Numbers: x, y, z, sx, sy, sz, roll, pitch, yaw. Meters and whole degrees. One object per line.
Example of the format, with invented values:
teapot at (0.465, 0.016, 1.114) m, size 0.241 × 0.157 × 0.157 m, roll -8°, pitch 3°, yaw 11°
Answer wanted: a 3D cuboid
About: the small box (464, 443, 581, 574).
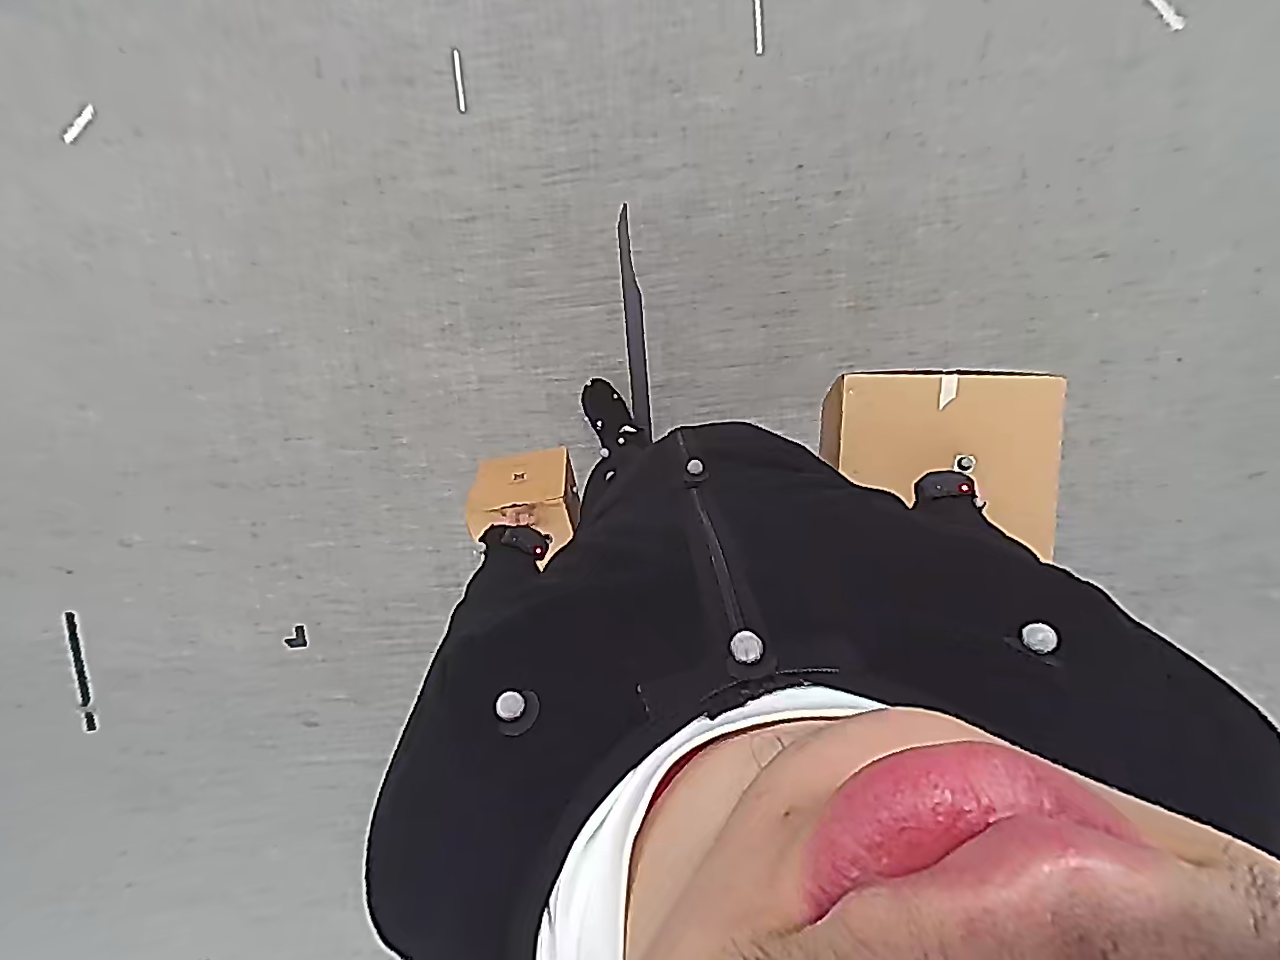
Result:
small box at (-0.204, 0.056, 0.991) m, size 0.168 × 0.179 × 0.176 m, roll -8°, pitch 124°, yaw 0°
